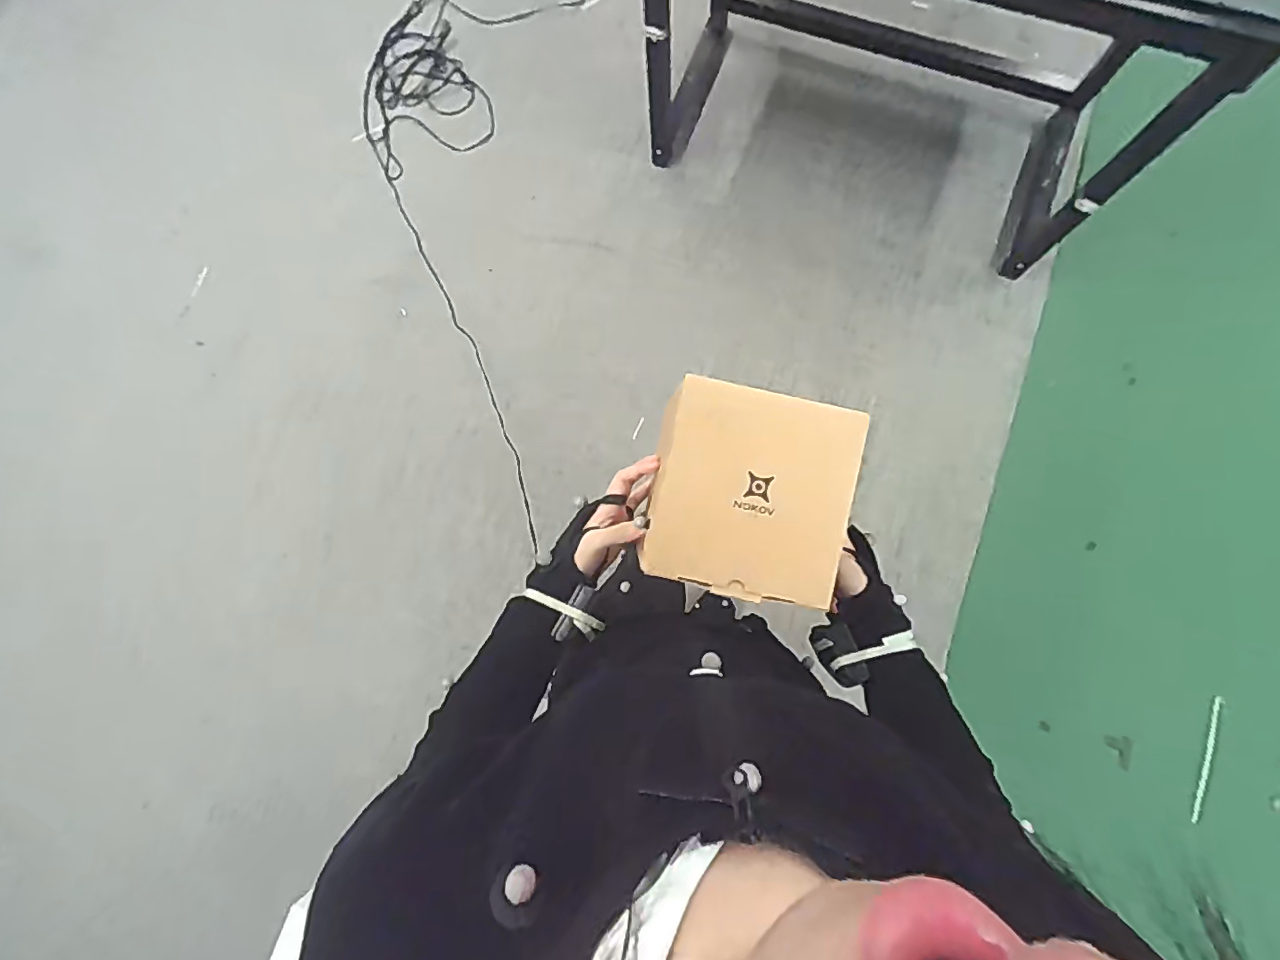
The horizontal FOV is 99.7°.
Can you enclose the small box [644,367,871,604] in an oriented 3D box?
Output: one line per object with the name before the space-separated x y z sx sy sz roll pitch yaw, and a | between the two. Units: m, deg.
small box | 0.099 0.006 0.534 0.168 0.176 0.179 11 89 -1
